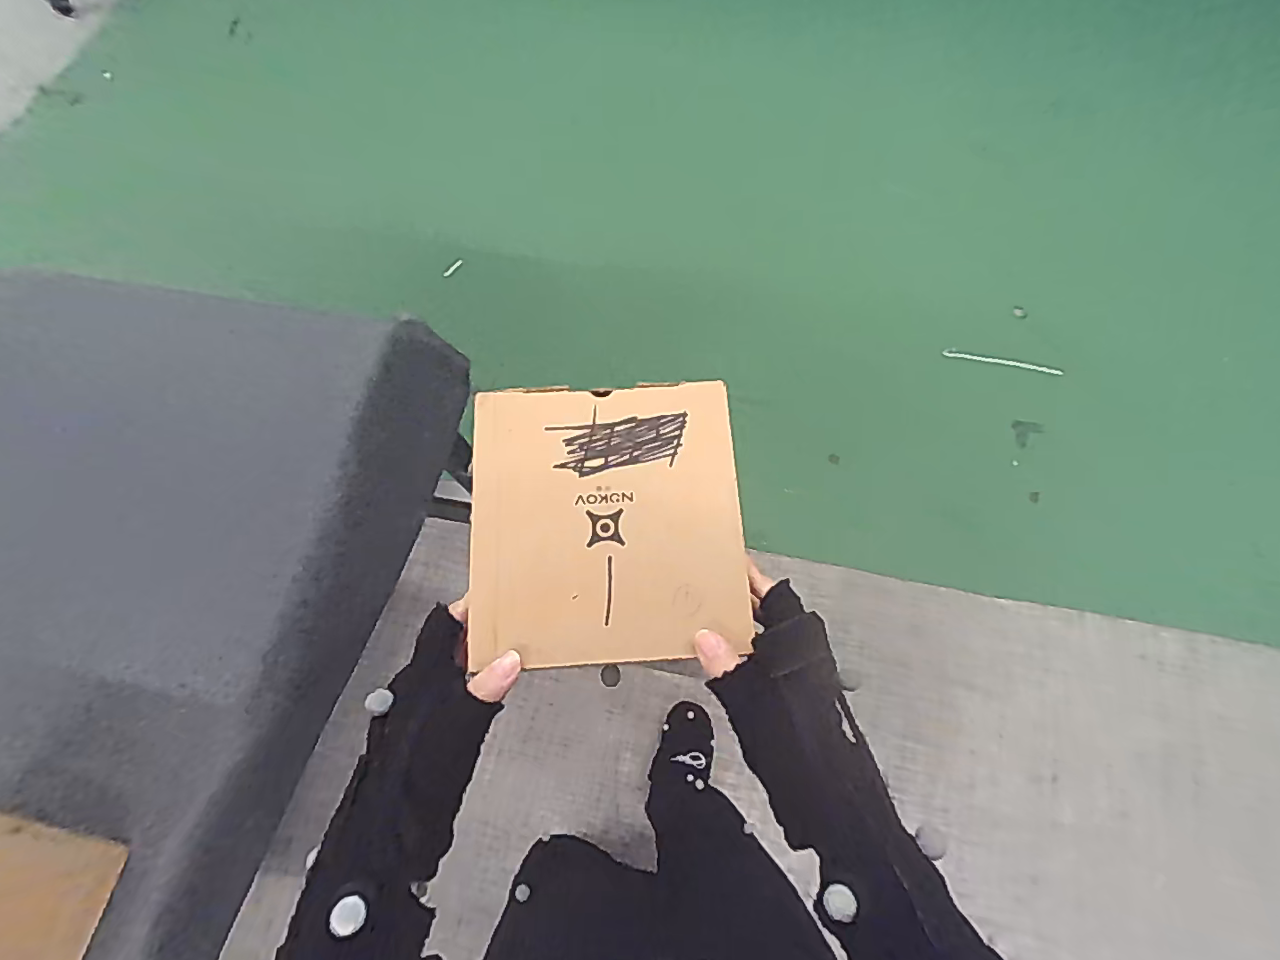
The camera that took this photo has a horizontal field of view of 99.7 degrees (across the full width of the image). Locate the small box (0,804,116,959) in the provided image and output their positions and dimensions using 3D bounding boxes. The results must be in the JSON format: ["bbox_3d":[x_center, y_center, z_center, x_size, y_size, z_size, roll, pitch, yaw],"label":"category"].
[{"bbox_3d":[-0.589,0.385,0.424,0.168,0.176,0.179,10,70,6],"label":"small box"}]

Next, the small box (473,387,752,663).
[{"bbox_3d":[-0.019,0.045,0.414,0.168,0.176,0.179,-2,73,-1],"label":"small box"}]
